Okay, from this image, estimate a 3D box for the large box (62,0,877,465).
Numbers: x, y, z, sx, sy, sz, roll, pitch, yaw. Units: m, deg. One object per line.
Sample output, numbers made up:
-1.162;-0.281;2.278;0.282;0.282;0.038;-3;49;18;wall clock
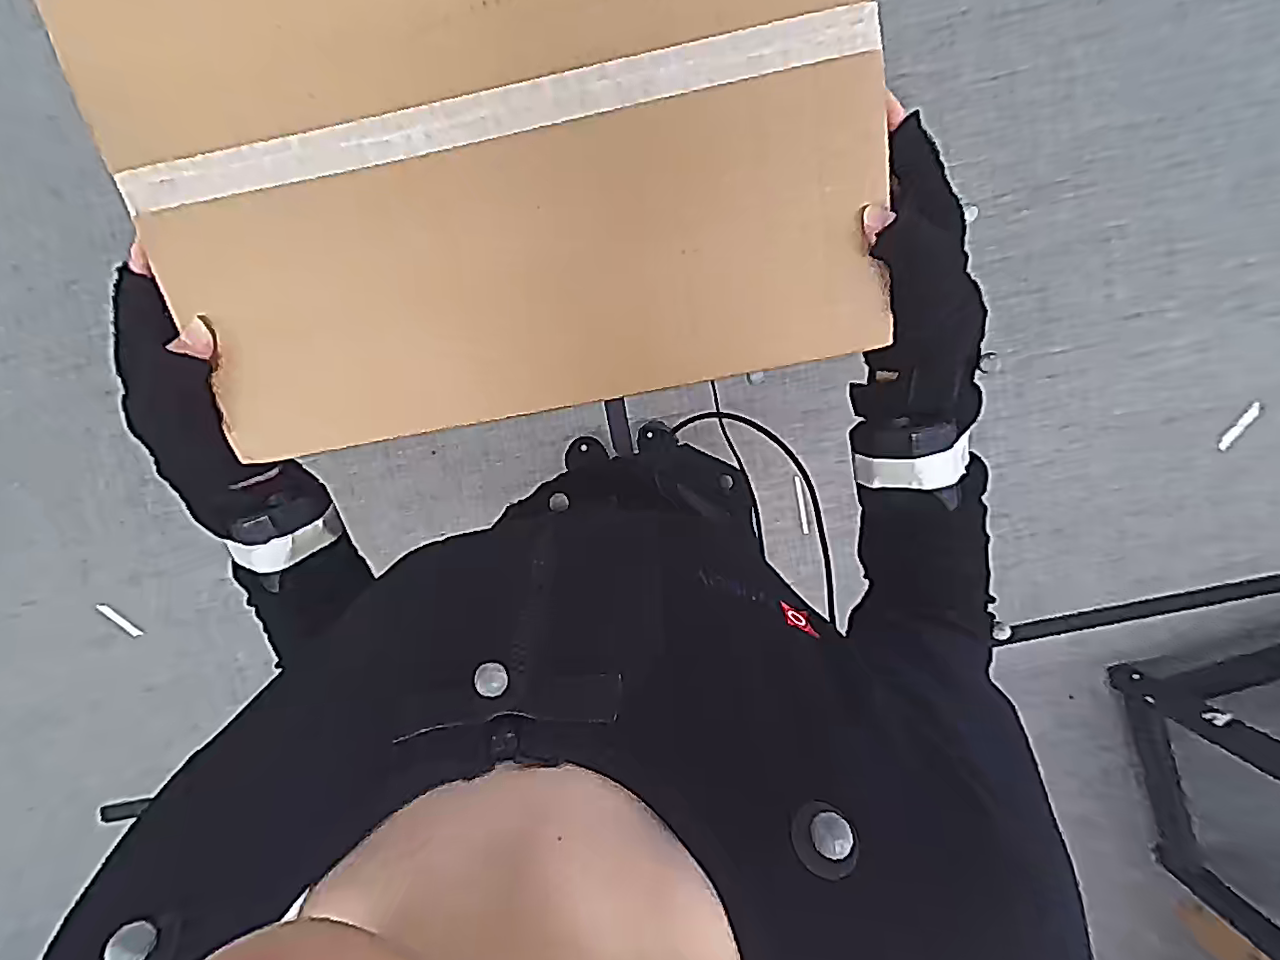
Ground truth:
-0.077;-0.235;0.434;0.408;0.320;0.320;-10;107;4;large box
